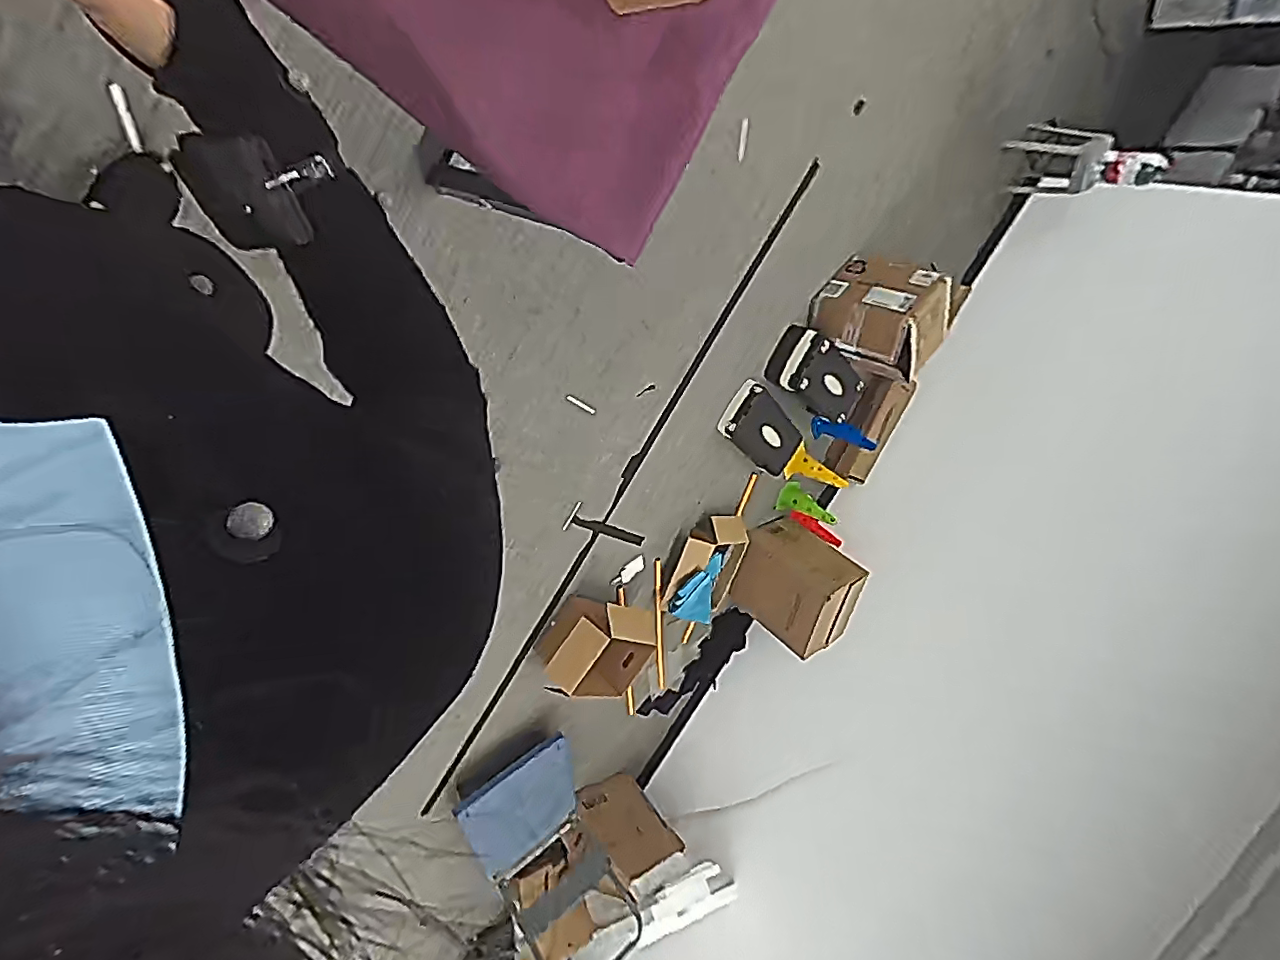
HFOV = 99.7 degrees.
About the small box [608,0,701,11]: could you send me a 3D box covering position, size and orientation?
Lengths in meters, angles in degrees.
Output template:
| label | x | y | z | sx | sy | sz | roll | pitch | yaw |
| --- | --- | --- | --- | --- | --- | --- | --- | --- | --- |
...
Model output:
| label | x | y | z | sx | sy | sz | roll | pitch | yaw |
| --- | --- | --- | --- | --- | --- | --- | --- | --- | --- |
| small box | 0.017 | -0.679 | 0.606 | 0.168 | 0.176 | 0.179 | 25 | 97 | -51 |
